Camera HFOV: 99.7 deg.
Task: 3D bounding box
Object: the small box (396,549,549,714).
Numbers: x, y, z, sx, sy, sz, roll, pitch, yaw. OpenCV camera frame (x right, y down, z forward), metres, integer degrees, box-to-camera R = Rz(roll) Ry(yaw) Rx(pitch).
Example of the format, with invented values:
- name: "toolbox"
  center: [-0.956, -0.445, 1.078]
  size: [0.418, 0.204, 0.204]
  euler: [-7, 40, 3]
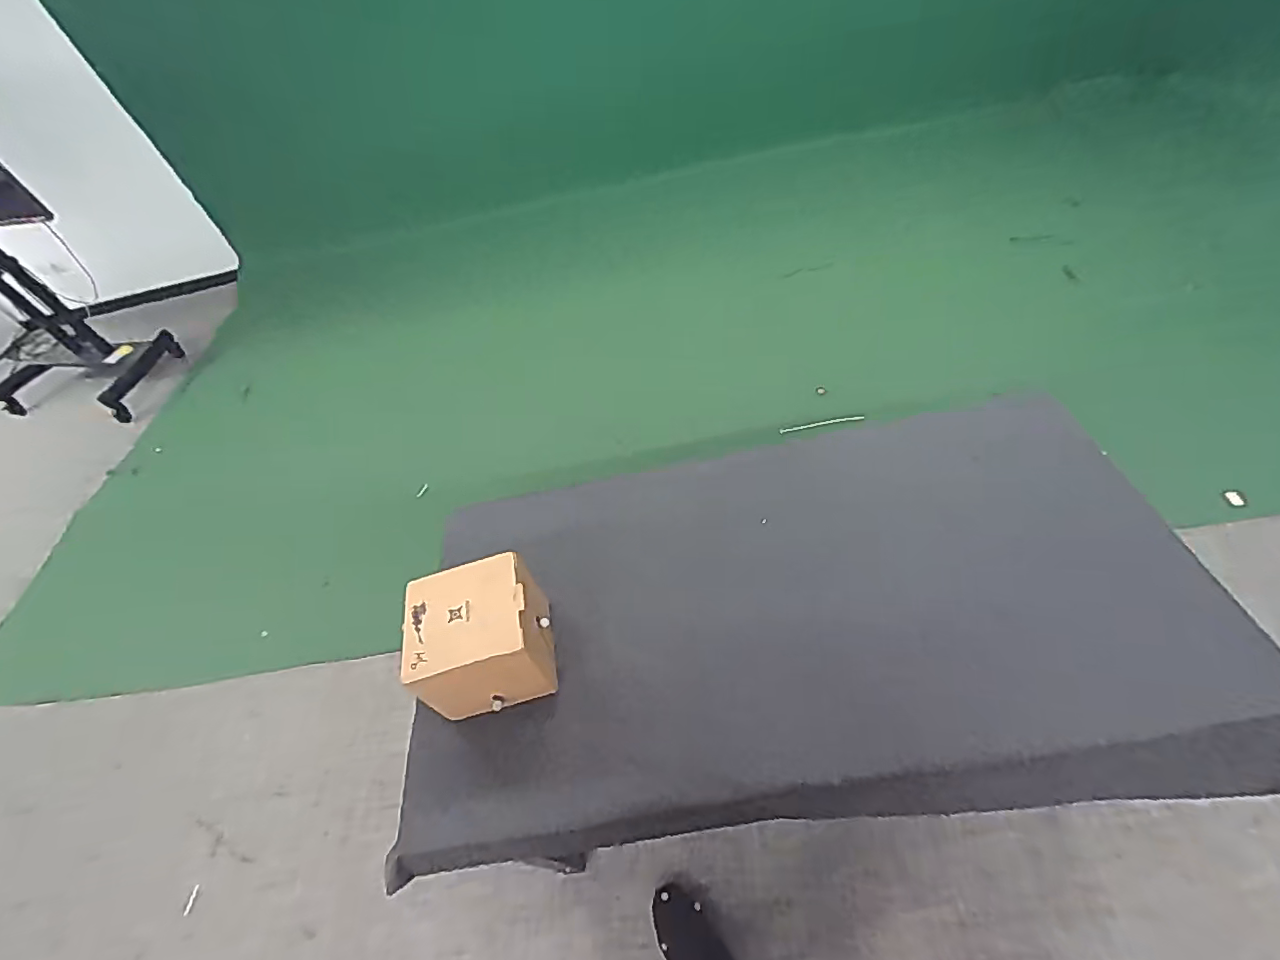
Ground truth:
- name: "small box"
  center: [-0.244, 0.234, 0.826]
  size: [0.179, 0.176, 0.168]
  euler: [-15, 50, -2]
